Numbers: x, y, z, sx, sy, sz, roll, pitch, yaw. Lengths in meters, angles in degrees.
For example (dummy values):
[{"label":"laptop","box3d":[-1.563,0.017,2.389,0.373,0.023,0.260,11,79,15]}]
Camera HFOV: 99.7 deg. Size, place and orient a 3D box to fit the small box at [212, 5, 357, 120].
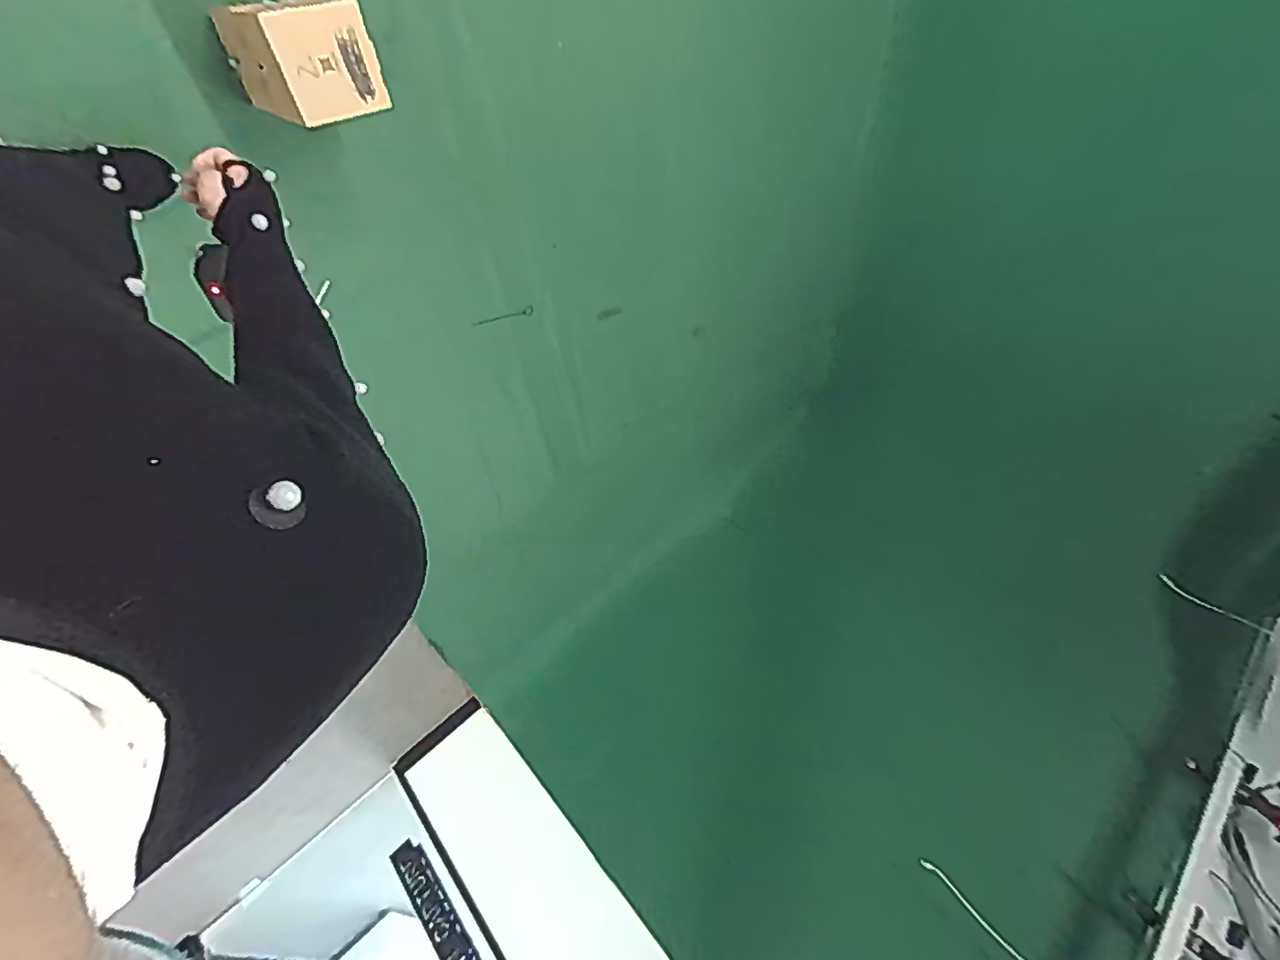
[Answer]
[{"label":"small box","box3d":[-0.732,-0.867,1.118,0.179,0.176,0.168,-35,141,-26]}]
